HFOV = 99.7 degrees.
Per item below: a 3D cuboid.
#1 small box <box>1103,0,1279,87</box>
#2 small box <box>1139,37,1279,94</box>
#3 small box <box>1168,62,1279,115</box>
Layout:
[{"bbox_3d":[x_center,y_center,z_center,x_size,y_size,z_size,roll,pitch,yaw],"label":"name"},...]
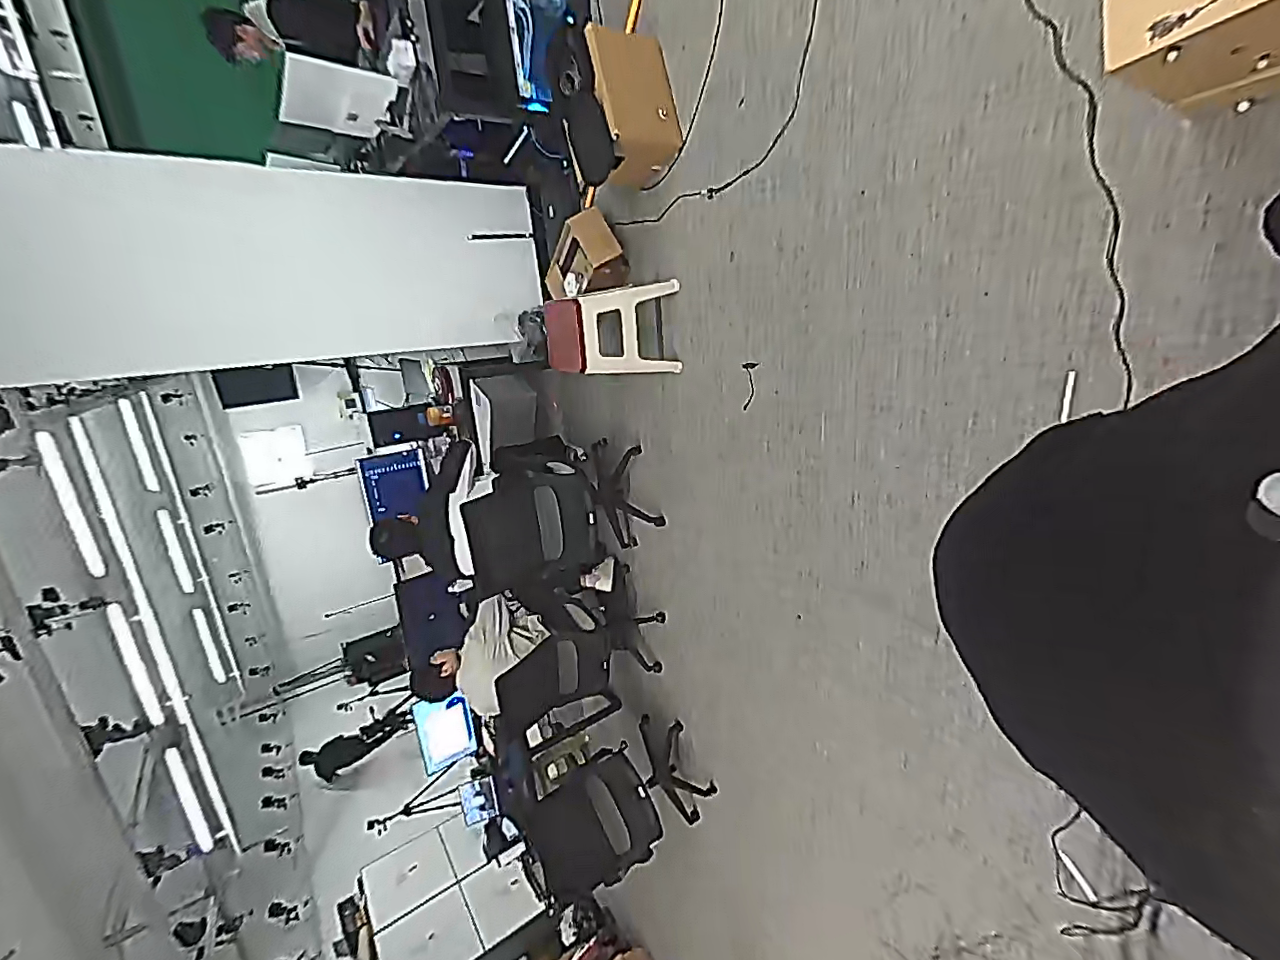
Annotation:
[{"bbox_3d":[0.728,-0.652,0.695,0.168,0.176,0.179,5,107,56],"label":"small box"},{"bbox_3d":[0.861,-0.693,0.783,0.168,0.176,0.179,8,109,54],"label":"small box"},{"bbox_3d":[0.994,-0.724,0.870,0.168,0.176,0.179,14,115,54],"label":"small box"}]
